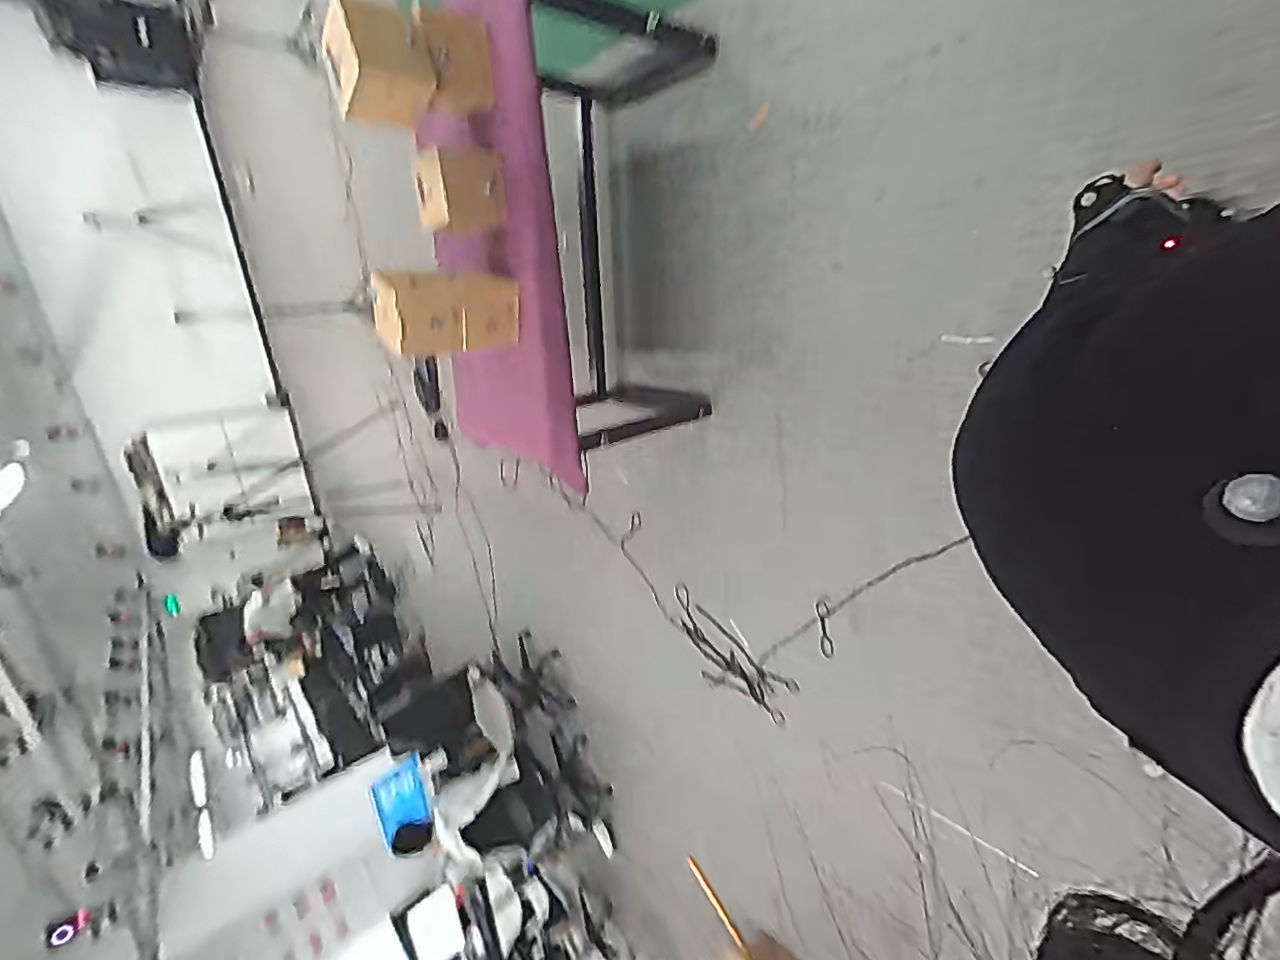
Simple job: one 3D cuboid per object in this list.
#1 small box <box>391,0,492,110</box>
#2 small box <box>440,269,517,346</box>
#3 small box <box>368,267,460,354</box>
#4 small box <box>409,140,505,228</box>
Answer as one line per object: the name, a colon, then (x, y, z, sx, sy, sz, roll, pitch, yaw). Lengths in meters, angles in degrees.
small box: (-0.468, -1.007, 1.294, 0.168, 0.176, 0.179, 22, 121, 44)
small box: (-0.454, -0.485, 1.503, 0.179, 0.176, 0.168, 34, 130, 38)
small box: (-0.581, -0.449, 1.405, 0.179, 0.176, 0.168, 40, 133, 32)
small box: (-0.472, -0.758, 1.405, 0.179, 0.176, 0.168, 14, 116, 46)
